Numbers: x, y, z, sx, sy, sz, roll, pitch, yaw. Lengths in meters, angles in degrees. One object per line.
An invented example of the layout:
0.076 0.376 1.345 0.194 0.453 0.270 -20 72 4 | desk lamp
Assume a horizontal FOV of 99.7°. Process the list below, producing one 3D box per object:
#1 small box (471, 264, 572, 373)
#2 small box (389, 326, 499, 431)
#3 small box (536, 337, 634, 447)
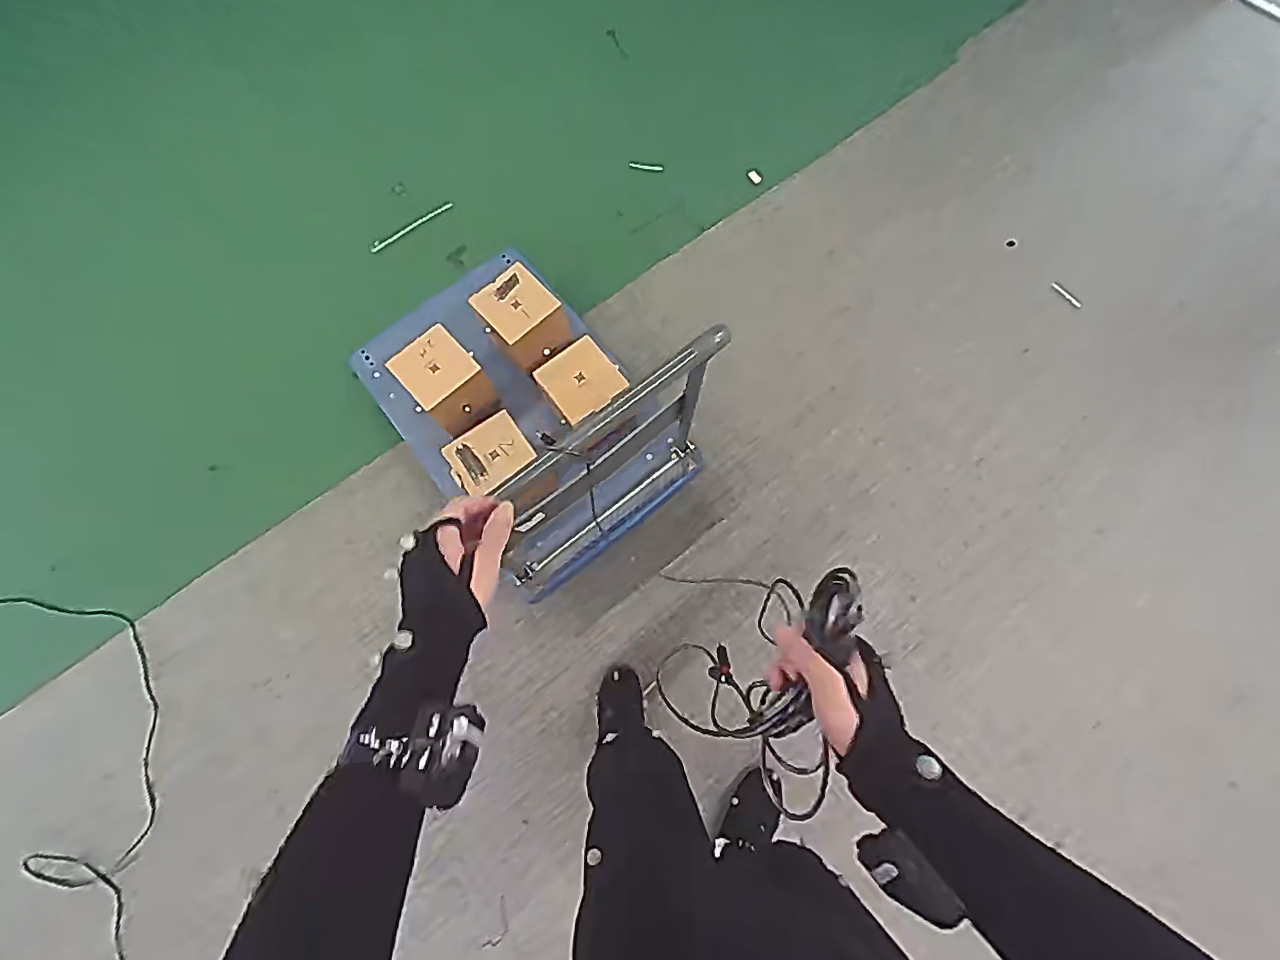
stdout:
-0.300 -0.411 1.405 0.168 0.176 0.179 -42 77 -8 | small box
-0.484 -0.244 1.365 0.168 0.176 0.179 -41 76 -10 | small box
-0.131 -0.210 1.340 0.168 0.176 0.179 -37 76 -8 | small box
